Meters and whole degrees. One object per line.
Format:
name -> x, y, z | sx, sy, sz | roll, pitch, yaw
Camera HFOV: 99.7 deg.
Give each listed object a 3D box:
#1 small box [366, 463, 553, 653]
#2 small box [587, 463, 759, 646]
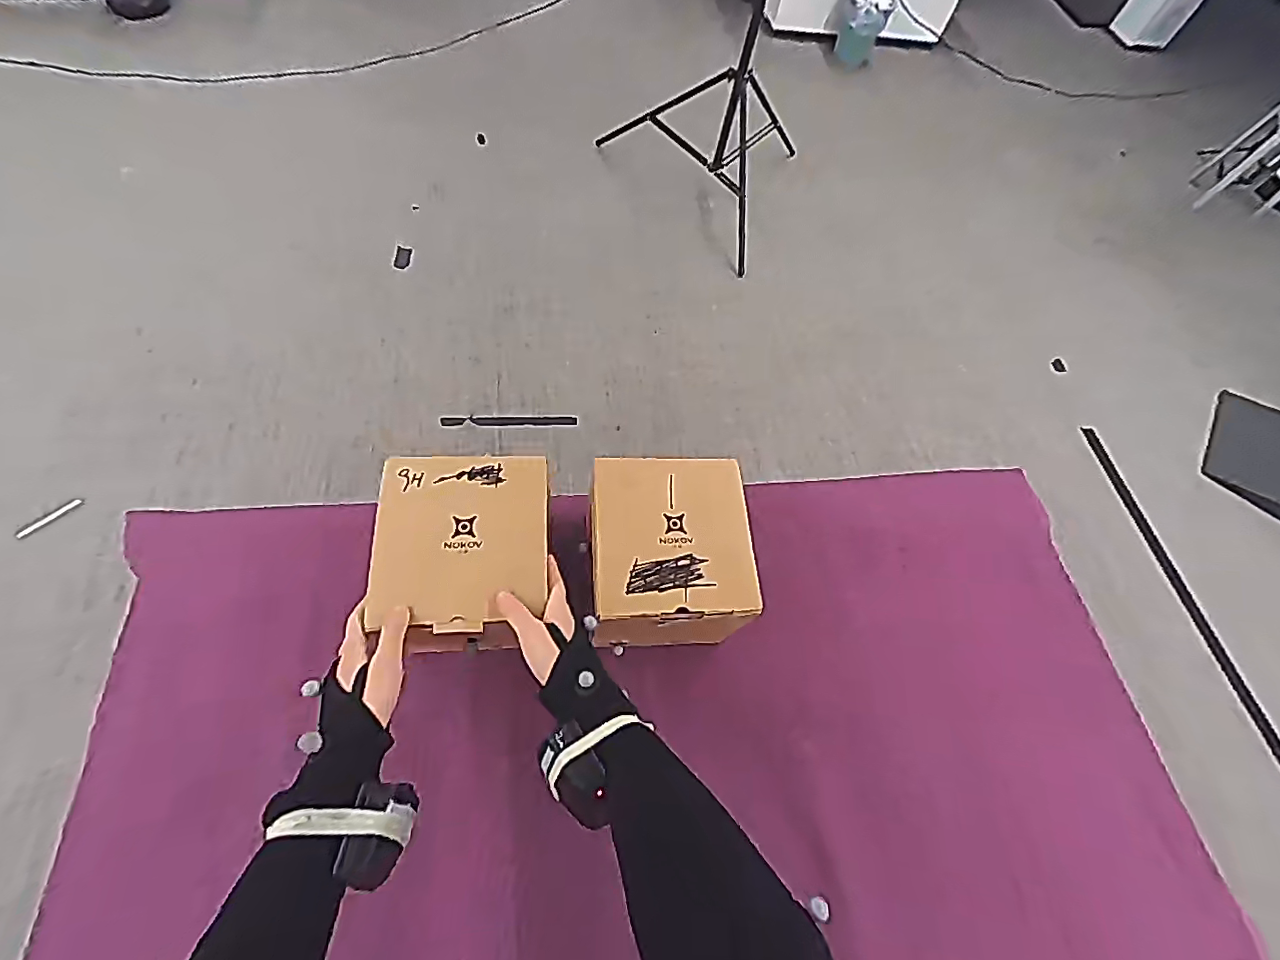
small box -> -0.183, 0.094, 0.603 | 0.168, 0.176, 0.179 | -1, 66, -9
small box -> 0.025, 0.095, 0.636 | 0.168, 0.176, 0.179 | 0, 63, -9
